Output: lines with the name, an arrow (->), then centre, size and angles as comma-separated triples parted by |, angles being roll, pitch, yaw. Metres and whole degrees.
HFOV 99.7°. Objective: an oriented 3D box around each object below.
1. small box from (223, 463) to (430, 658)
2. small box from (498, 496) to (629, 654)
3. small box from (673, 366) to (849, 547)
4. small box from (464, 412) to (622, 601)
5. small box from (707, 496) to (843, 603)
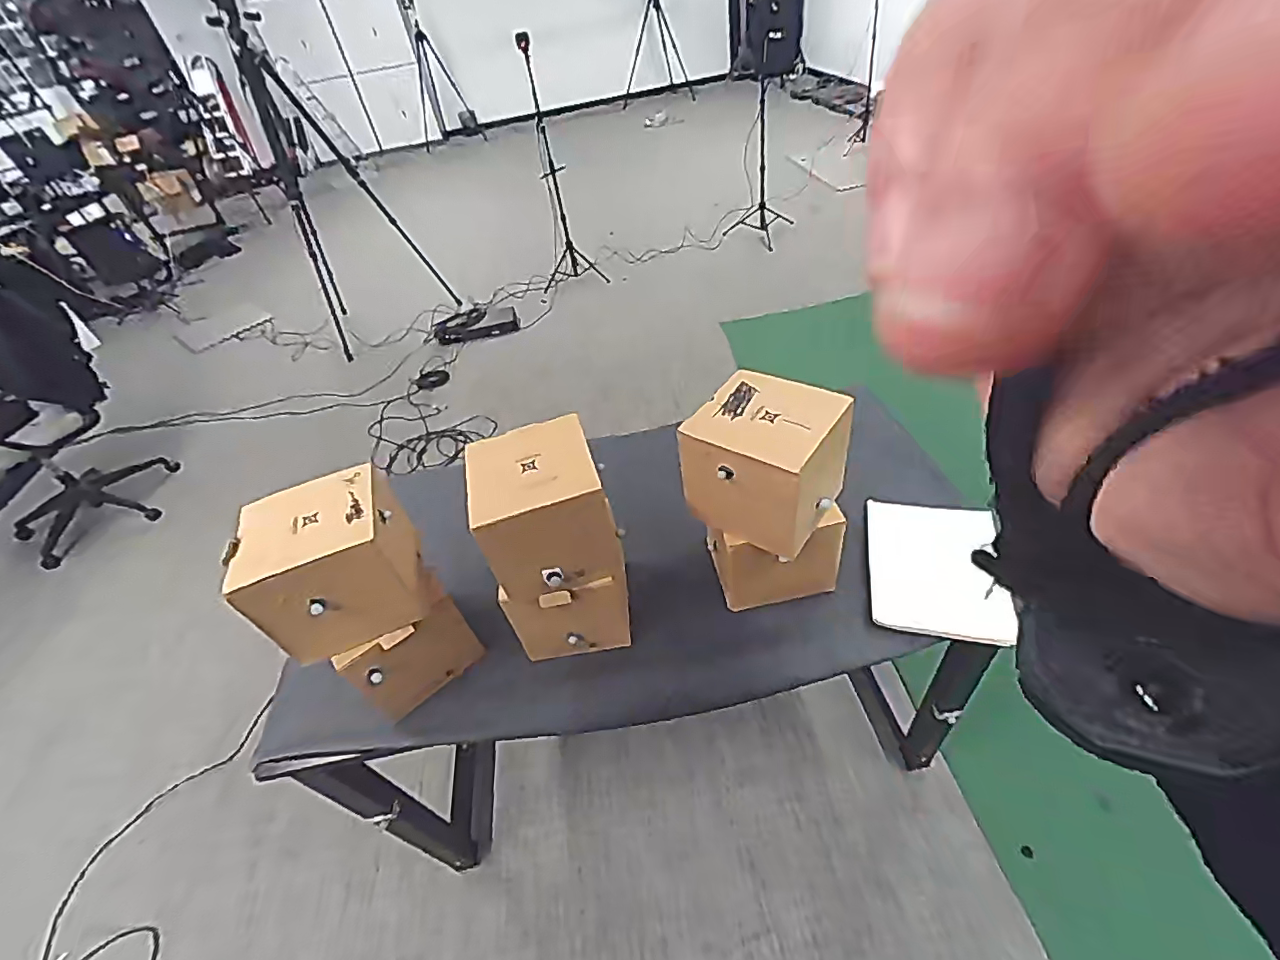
small box -> -0.414, 0.112, 0.743 | 0.179, 0.176, 0.168 | -23, 44, -10
small box -> -0.115, 0.153, 0.873 | 0.168, 0.176, 0.179 | -11, 43, 3
small box -> 0.170, -0.033, 0.764 | 0.179, 0.176, 0.168 | 23, 54, 32
small box -> -0.135, 0.036, 0.761 | 0.168, 0.176, 0.179 | -19, 43, -5
small box -> 0.207, 0.075, 0.883 | 0.179, 0.176, 0.168 | -13, 43, 0
